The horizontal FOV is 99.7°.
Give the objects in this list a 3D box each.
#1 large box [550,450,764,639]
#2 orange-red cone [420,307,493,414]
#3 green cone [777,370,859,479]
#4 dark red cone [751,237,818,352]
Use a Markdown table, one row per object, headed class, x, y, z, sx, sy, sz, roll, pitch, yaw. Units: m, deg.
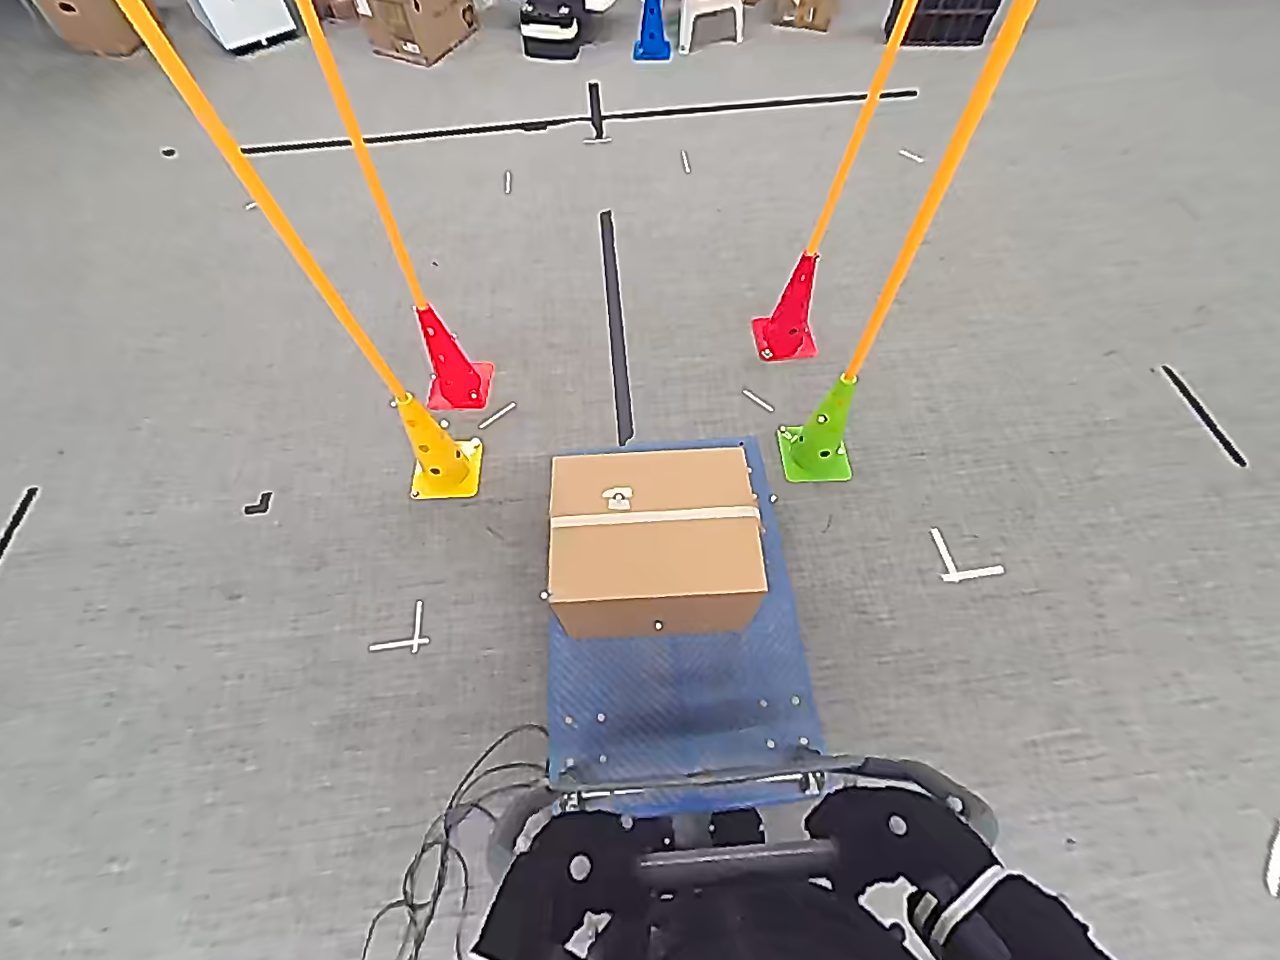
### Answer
| class | x | y | z | sx | sy | sz | roll | pitch | yaw |
| --- | --- | --- | --- | --- | --- | --- | --- | --- | --- |
| large box | 0.030 | 0.156 | 1.196 | 0.408 | 0.320 | 0.320 | -4 | 61 | 1 |
| orange-red cone | -0.612 | -0.396 | 1.696 | 0.198 | 0.360 | 0.199 | 1 | 59 | 1 |
| green cone | 0.534 | -0.174 | 1.529 | 0.202 | 0.368 | 0.200 | -2 | 61 | -1 |
| dark red cone | 0.502 | -0.604 | 1.752 | 0.201 | 0.394 | 0.202 | -5 | 61 | -3 |
